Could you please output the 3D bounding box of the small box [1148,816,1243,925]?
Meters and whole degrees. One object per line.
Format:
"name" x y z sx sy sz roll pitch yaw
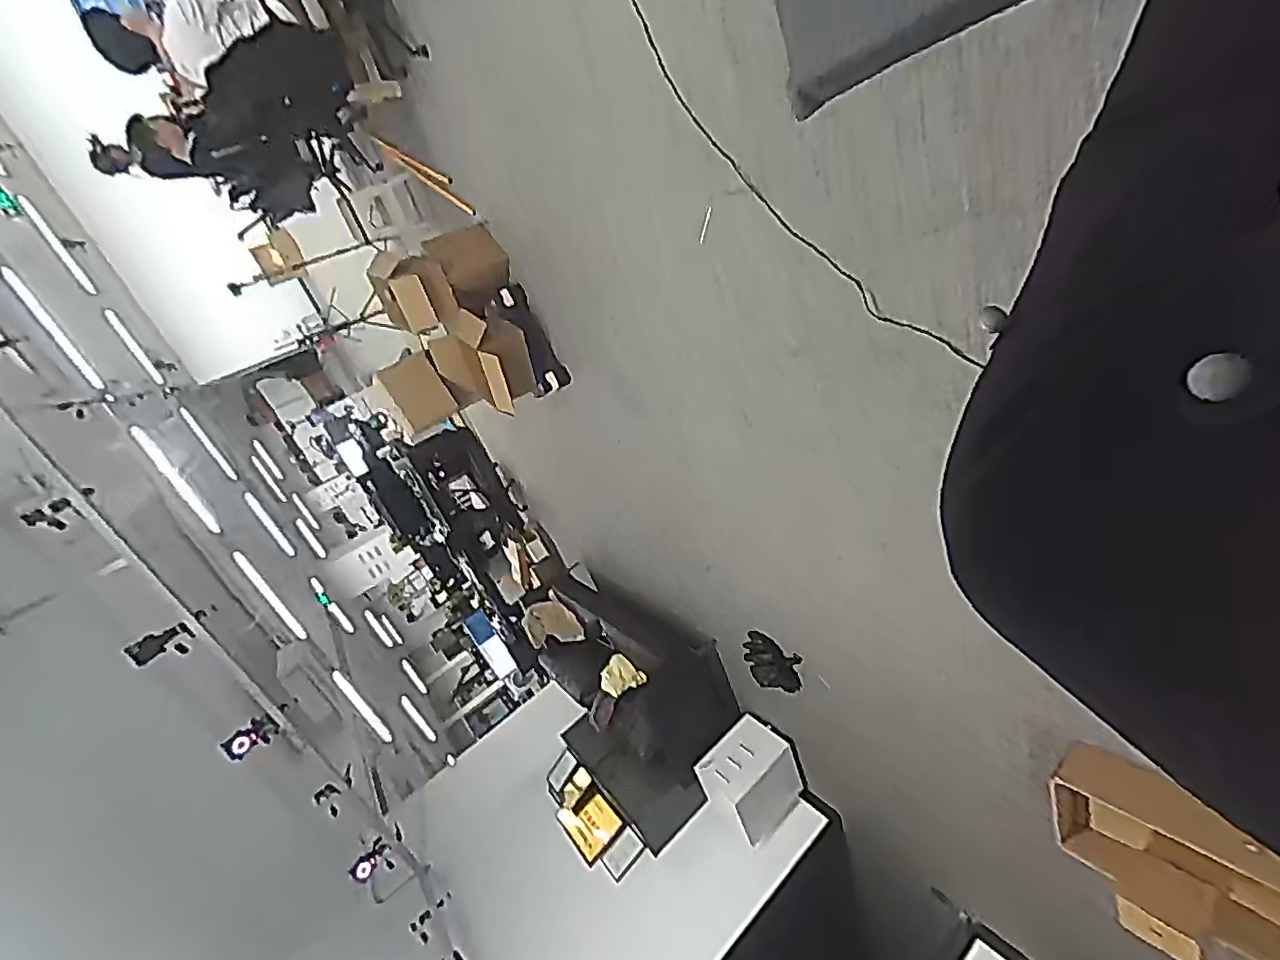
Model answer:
"small box" 1.633 1.144 1.591 0.168 0.176 0.179 14 133 56

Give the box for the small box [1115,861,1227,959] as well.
"small box" 1.489 1.221 1.517 0.179 0.176 0.168 5 126 60
